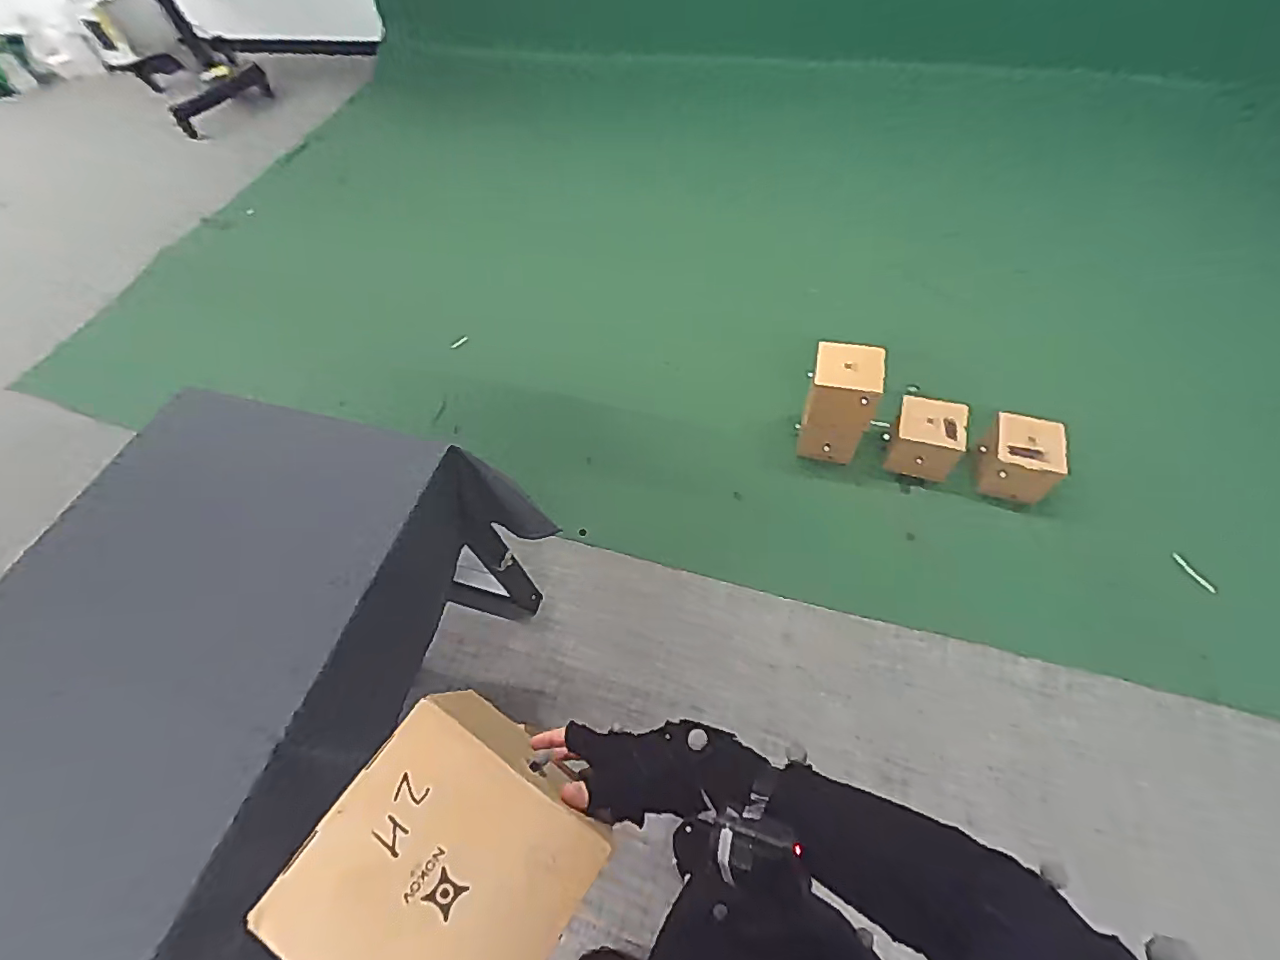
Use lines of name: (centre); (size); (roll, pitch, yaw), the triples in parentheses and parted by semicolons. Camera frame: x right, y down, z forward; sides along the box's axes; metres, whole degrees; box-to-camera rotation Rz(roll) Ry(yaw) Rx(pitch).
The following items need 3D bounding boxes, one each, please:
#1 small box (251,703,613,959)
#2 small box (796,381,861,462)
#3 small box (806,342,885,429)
small box: (-0.139, 0.298, 0.432); (0.179, 0.176, 0.168); (36, 71, 8)
small box: (0.581, -0.178, 1.656); (0.168, 0.176, 0.179); (11, 61, 13)
small box: (0.570, -0.262, 1.516); (0.179, 0.176, 0.168); (10, 60, 12)
